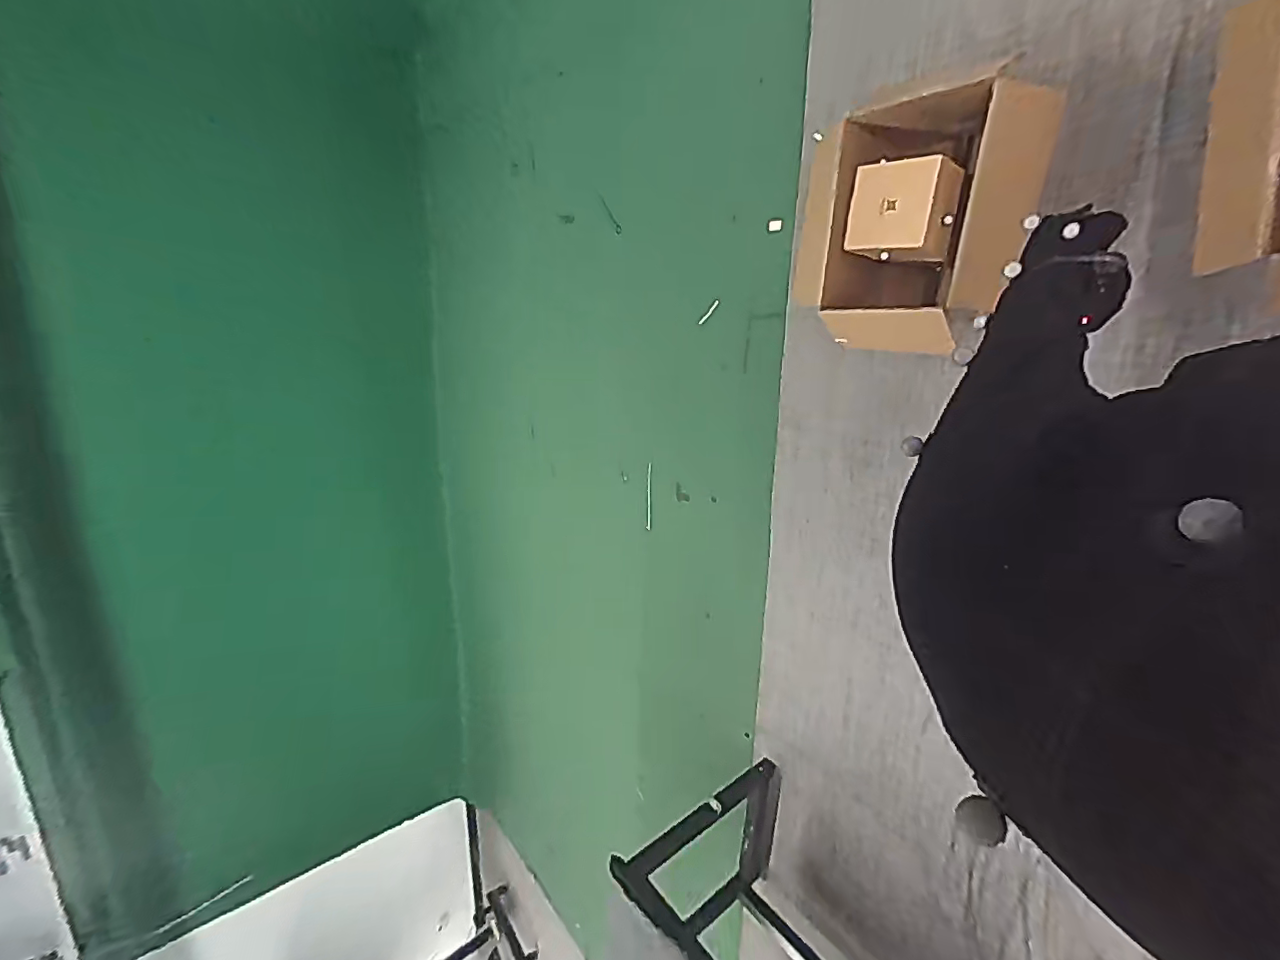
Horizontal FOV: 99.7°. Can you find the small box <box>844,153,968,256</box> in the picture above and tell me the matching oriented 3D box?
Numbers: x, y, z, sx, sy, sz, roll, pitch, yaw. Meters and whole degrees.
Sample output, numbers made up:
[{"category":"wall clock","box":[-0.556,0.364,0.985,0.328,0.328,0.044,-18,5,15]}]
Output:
[{"category":"small box","box":[0.573,-0.582,1.163,0.179,0.176,0.168,22,114,46]}]
